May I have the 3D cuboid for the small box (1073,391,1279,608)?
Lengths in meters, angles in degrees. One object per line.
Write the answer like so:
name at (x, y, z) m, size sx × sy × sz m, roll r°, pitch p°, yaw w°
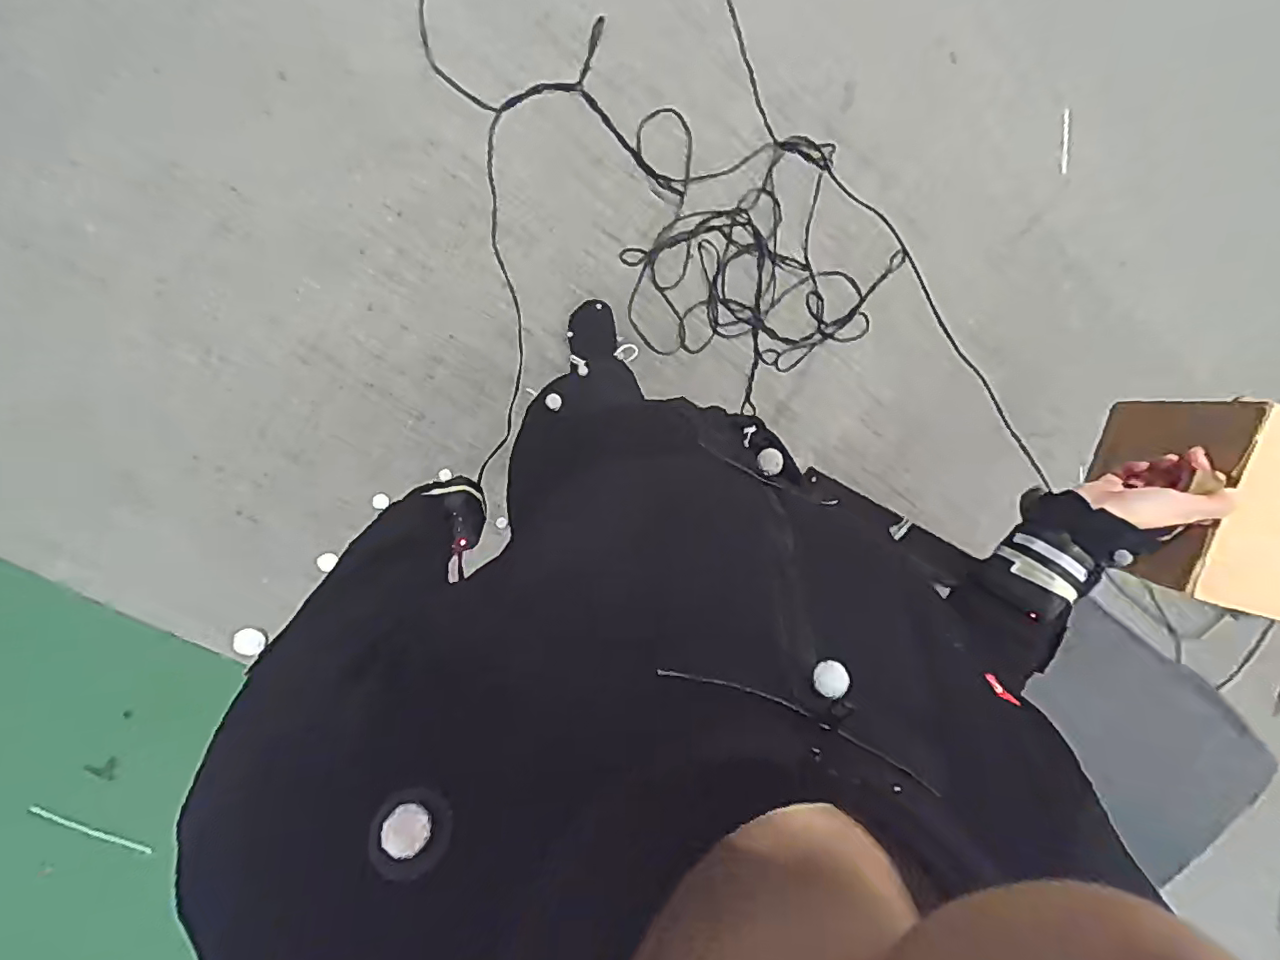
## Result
small box at (0.559, 0.018, 0.497) m, size 0.179 × 0.176 × 0.168 m, roll 13°, pitch 100°, yaw 5°
